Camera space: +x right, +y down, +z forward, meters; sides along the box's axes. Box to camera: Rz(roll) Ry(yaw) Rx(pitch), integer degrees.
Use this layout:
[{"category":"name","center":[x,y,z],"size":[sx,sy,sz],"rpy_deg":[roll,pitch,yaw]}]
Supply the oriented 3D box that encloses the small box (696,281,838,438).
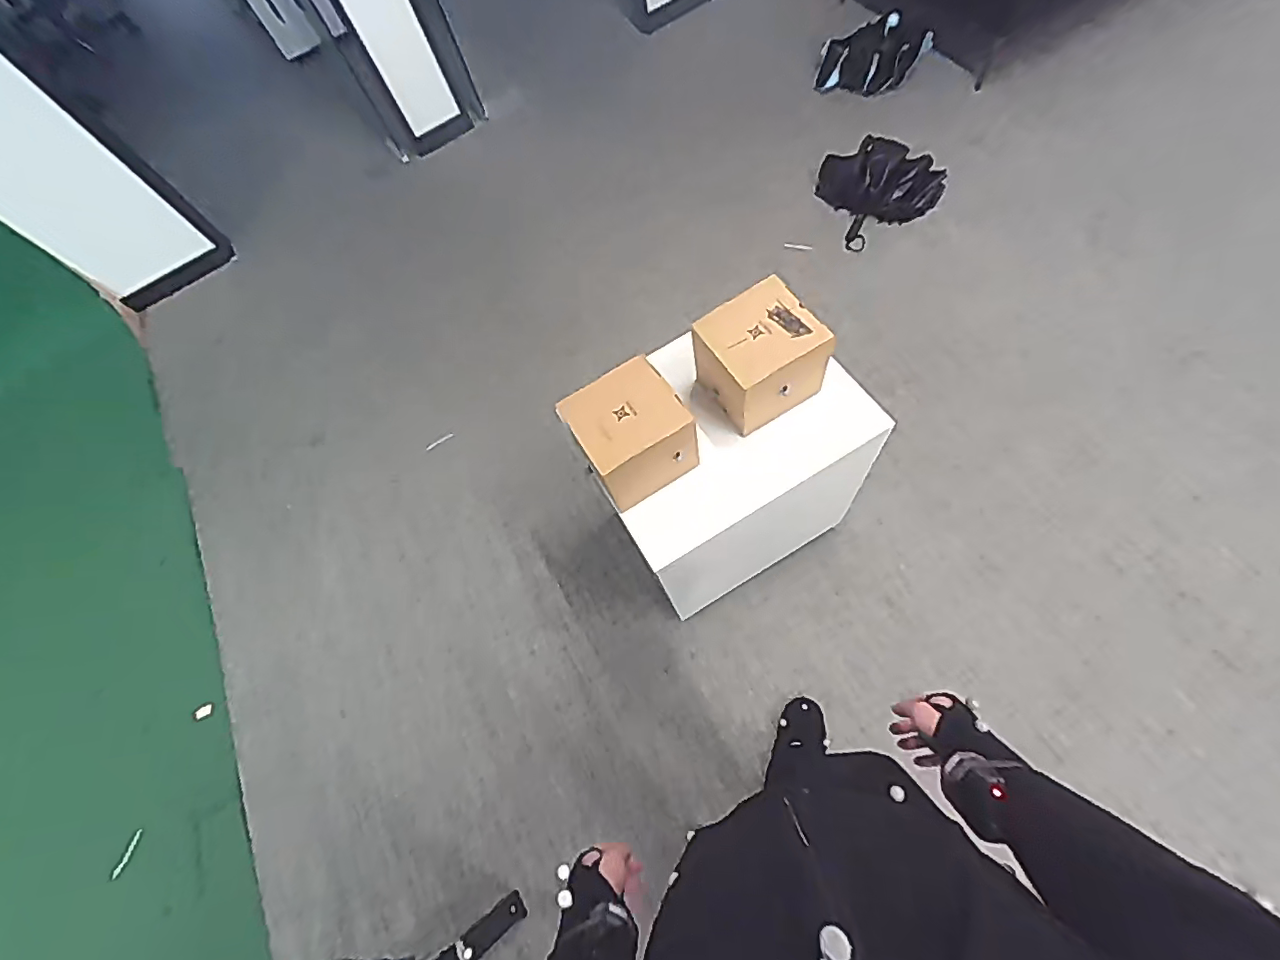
[{"category":"small box","center":[0.216,-0.208,0.962],"size":[0.179,0.176,0.168],"rpy_deg":[-30,65,-5]}]

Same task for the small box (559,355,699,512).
[{"category":"small box","center":[-0.012,-0.074,0.936],"size":[0.179,0.176,0.168],"rpy_deg":[-32,64,-7]}]
